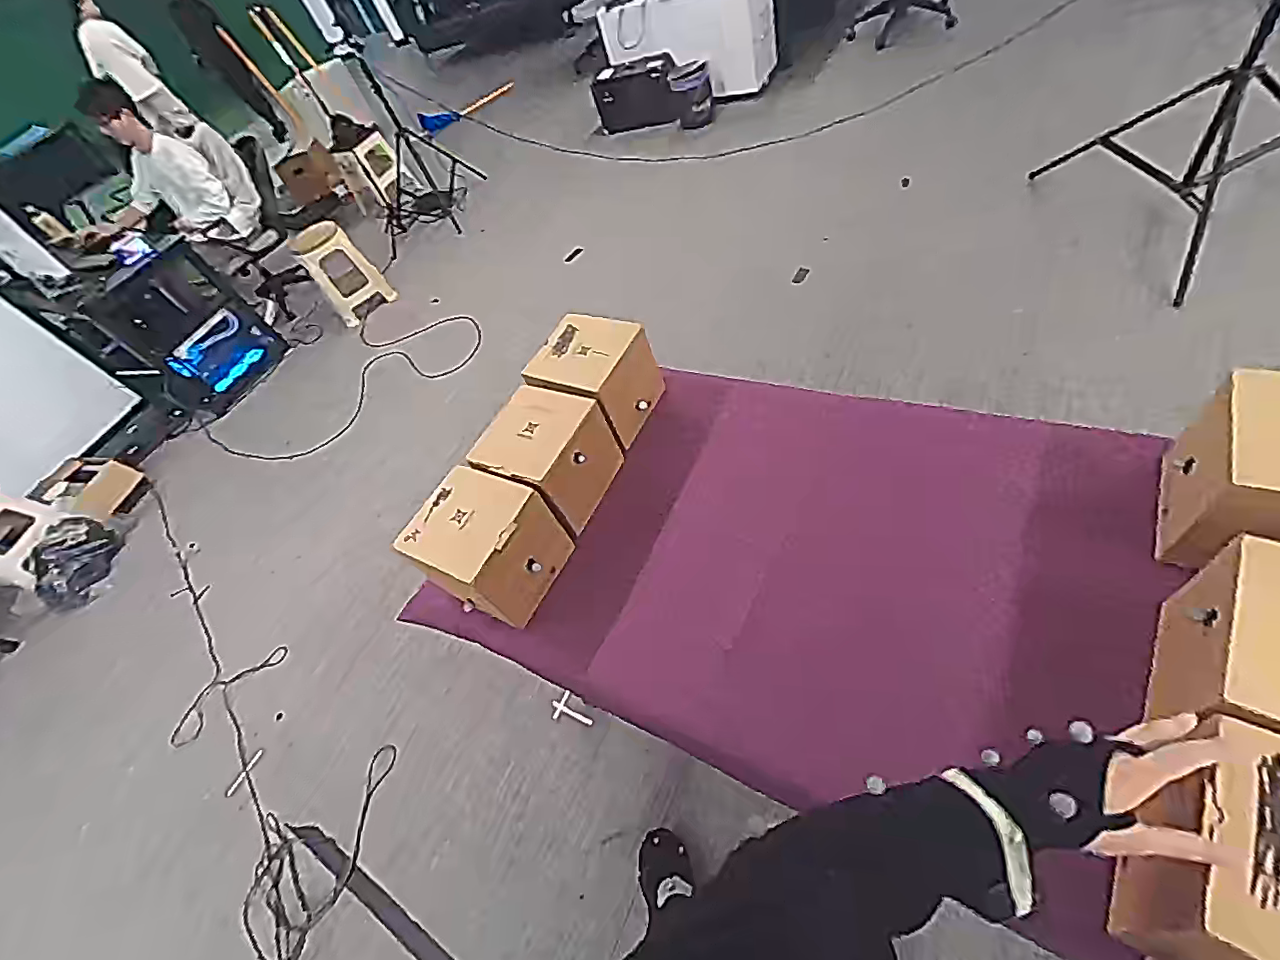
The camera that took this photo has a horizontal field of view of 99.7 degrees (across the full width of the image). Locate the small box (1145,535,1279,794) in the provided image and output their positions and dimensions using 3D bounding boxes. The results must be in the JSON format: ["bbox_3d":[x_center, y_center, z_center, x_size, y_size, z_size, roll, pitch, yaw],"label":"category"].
[{"bbox_3d":[0.612,0.186,0.500,0.168,0.176,0.179,20,63,32],"label":"small box"}]

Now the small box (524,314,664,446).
[{"bbox_3d":[-0.078,-0.187,1.023,0.179,0.176,0.168,18,65,28],"label":"small box"}]

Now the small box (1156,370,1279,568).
[{"bbox_3d":[0.712,0.008,0.588,0.179,0.176,0.168,17,63,29],"label":"small box"}]

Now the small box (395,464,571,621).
[{"bbox_3d":[-0.238,0.104,0.866,0.179,0.176,0.168,17,61,28],"label":"small box"}]
